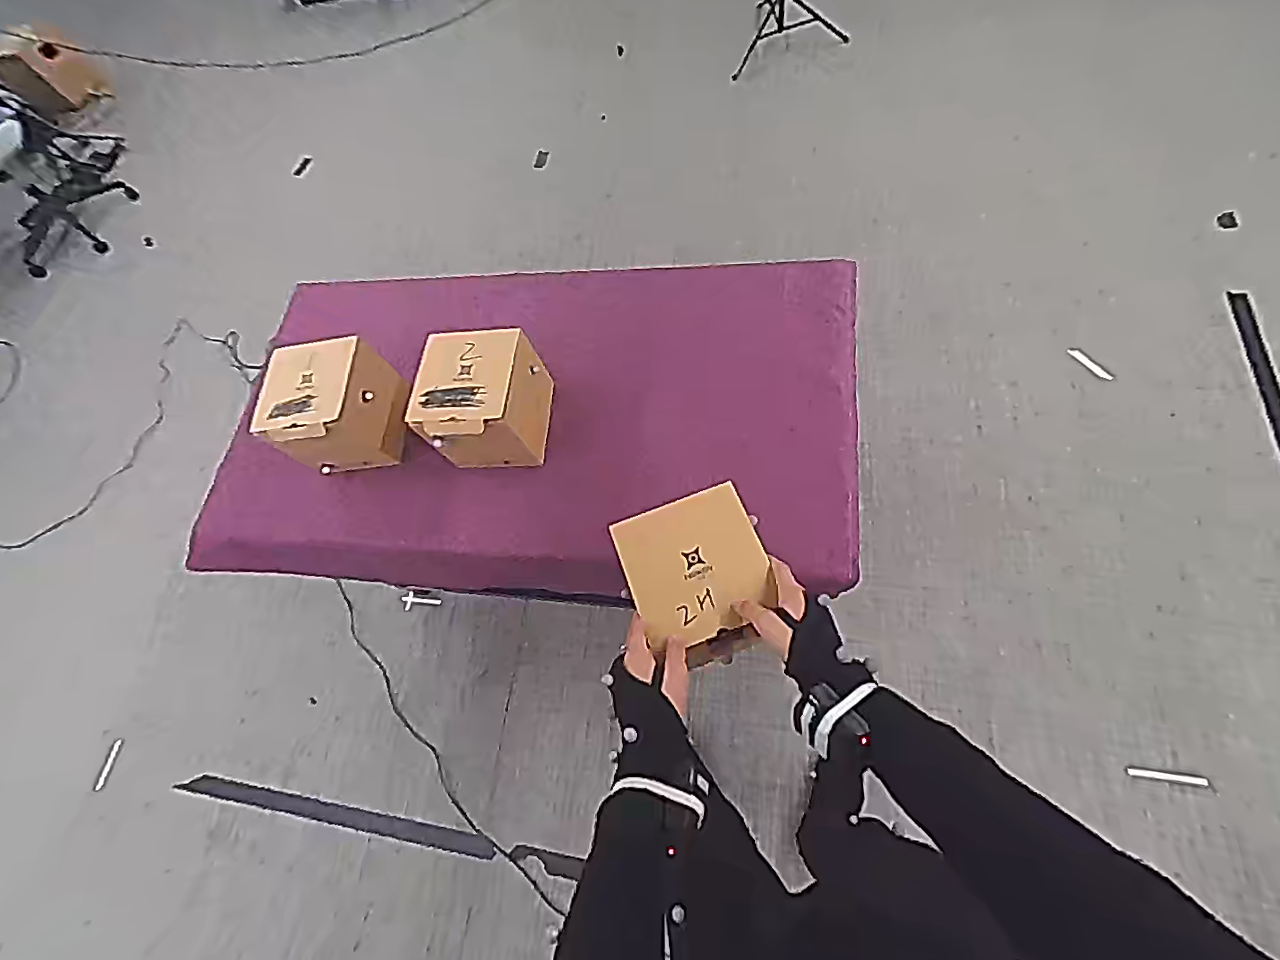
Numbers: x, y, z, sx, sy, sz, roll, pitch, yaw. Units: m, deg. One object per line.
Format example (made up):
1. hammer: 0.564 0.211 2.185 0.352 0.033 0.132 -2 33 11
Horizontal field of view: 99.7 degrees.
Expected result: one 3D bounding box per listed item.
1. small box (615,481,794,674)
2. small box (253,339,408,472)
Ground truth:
1. small box: 0.079 0.133 0.703 0.168 0.176 0.179 -20 63 -1
2. small box: -0.545 -0.124 0.980 0.168 0.176 0.179 -7 66 8
